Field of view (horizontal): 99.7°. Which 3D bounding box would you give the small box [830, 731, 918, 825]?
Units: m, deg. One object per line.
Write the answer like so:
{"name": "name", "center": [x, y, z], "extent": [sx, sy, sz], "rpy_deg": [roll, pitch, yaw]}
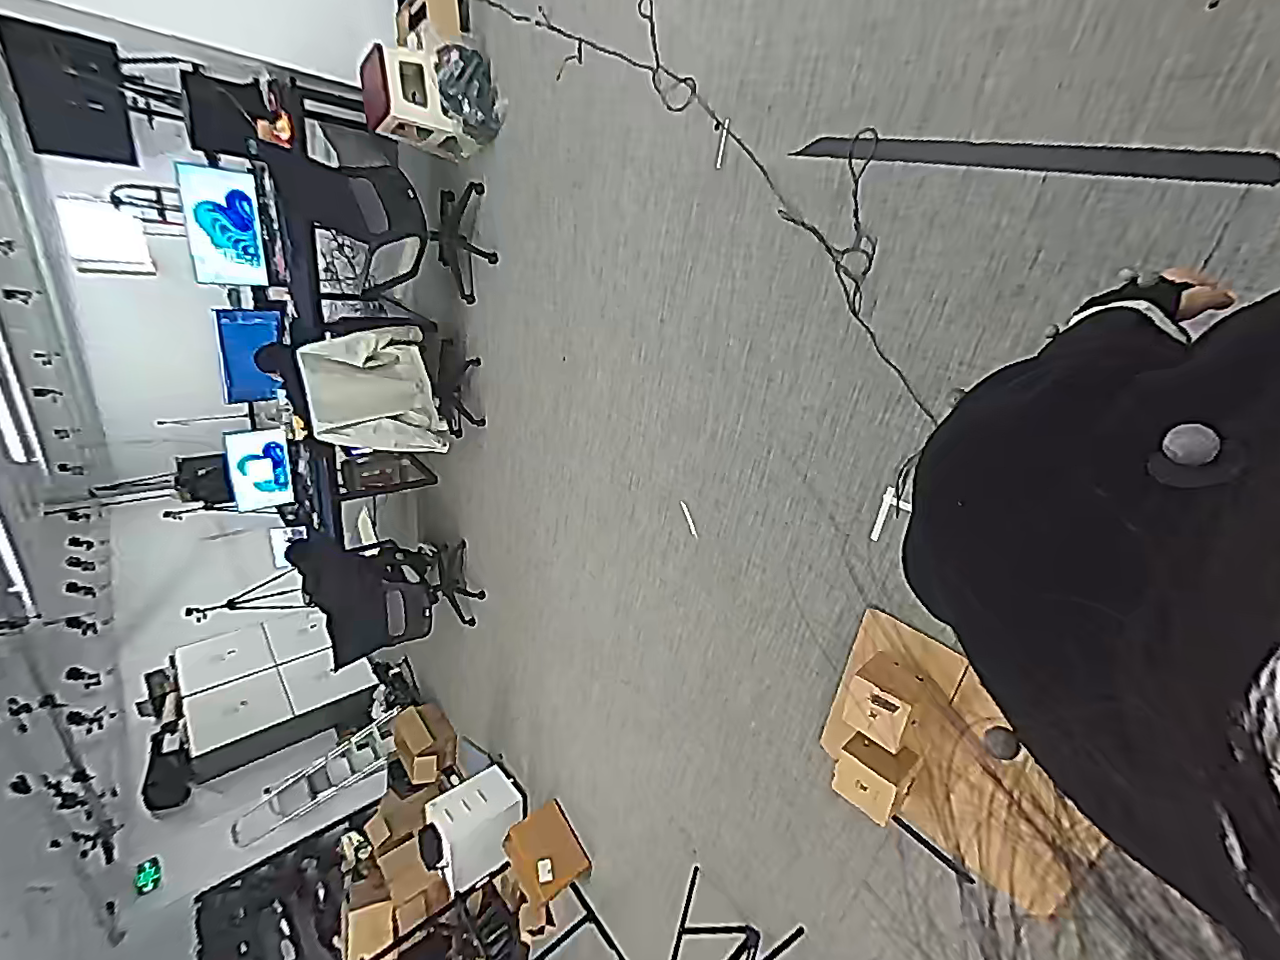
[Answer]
{"name": "small box", "center": [0.711, 0.887, 1.646], "extent": [0.179, 0.176, 0.168], "rpy_deg": [24, 119, 42]}

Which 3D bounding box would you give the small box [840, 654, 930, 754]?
{"name": "small box", "center": [0.714, 0.639, 1.569], "extent": [0.168, 0.176, 0.179], "rpy_deg": [26, 119, 42]}
